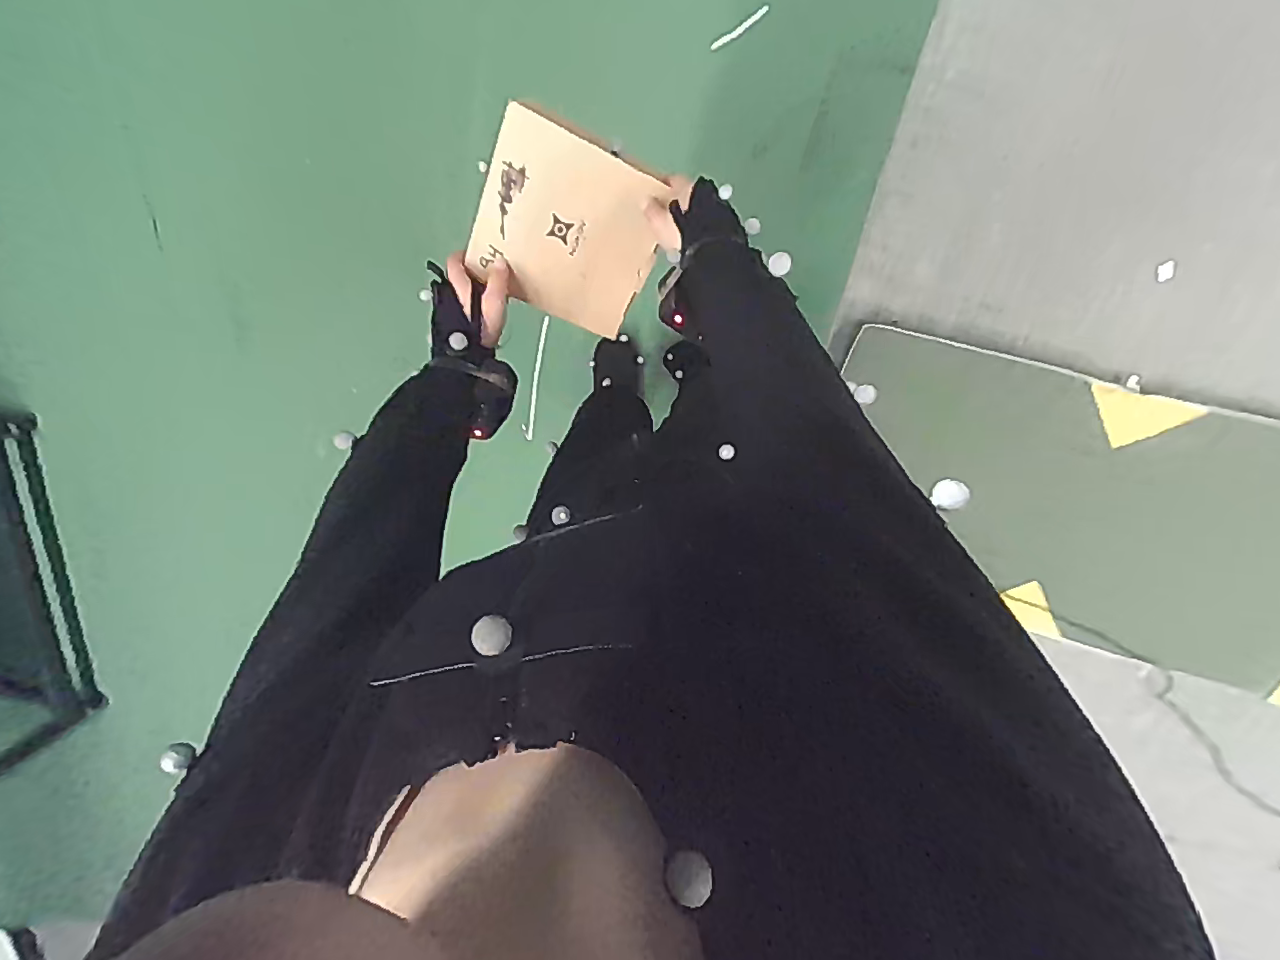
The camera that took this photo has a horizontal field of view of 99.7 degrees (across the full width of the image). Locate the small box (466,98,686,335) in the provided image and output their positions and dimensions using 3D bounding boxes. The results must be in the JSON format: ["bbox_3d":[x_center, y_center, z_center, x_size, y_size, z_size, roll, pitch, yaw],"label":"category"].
[{"bbox_3d":[-0.069,-0.296,0.605,0.179,0.176,0.168,22,121,-17],"label":"small box"}]
